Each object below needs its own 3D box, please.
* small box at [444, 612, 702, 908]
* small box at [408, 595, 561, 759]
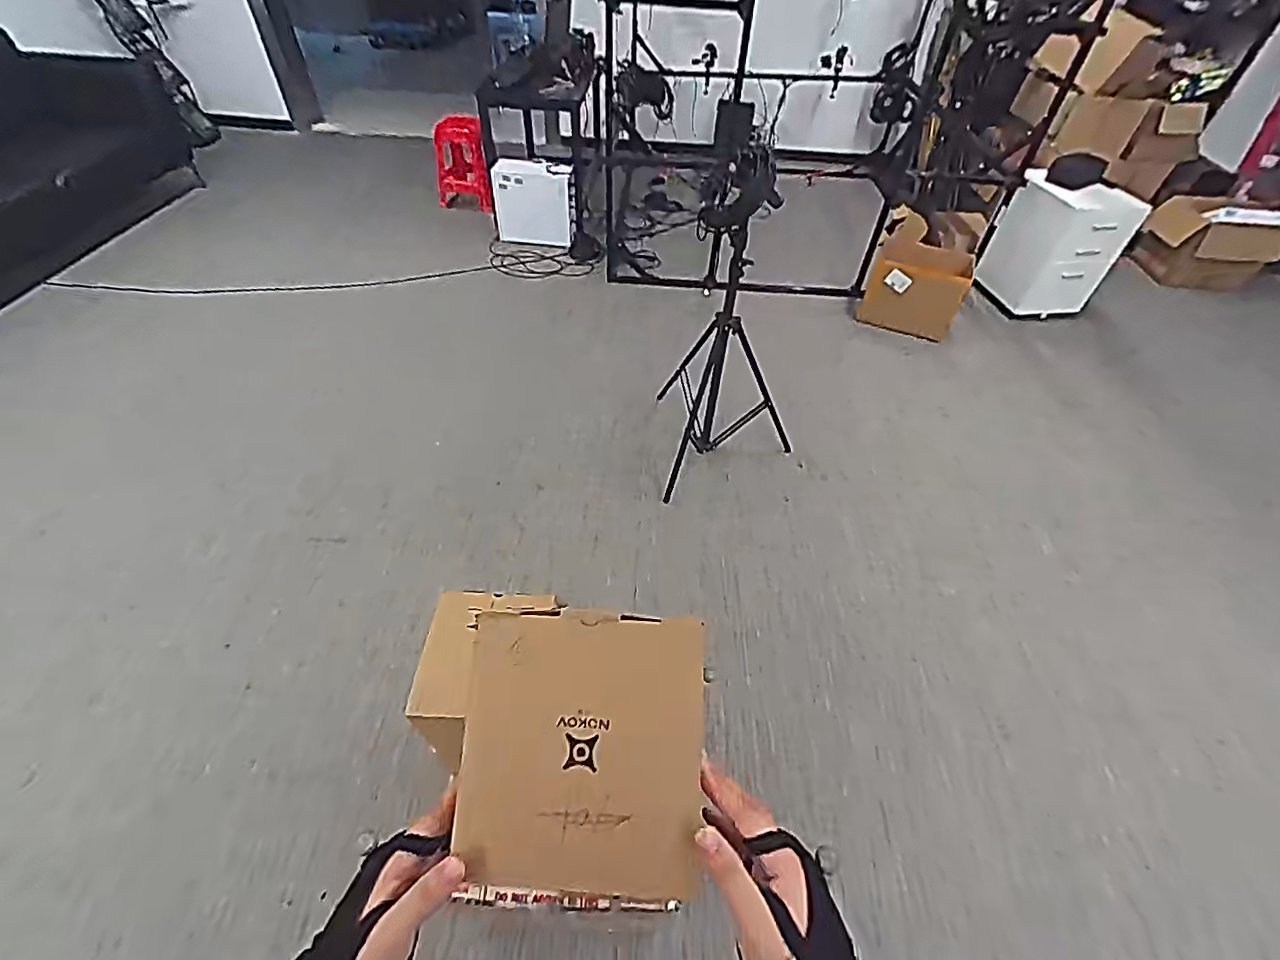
[{"bbox_3d":[-0.038,0.200,0.441,0.168,0.176,0.179,1,78,4],"label":"small box"},{"bbox_3d":[-0.202,0.286,0.774,0.168,0.176,0.179,2,49,1],"label":"small box"}]
